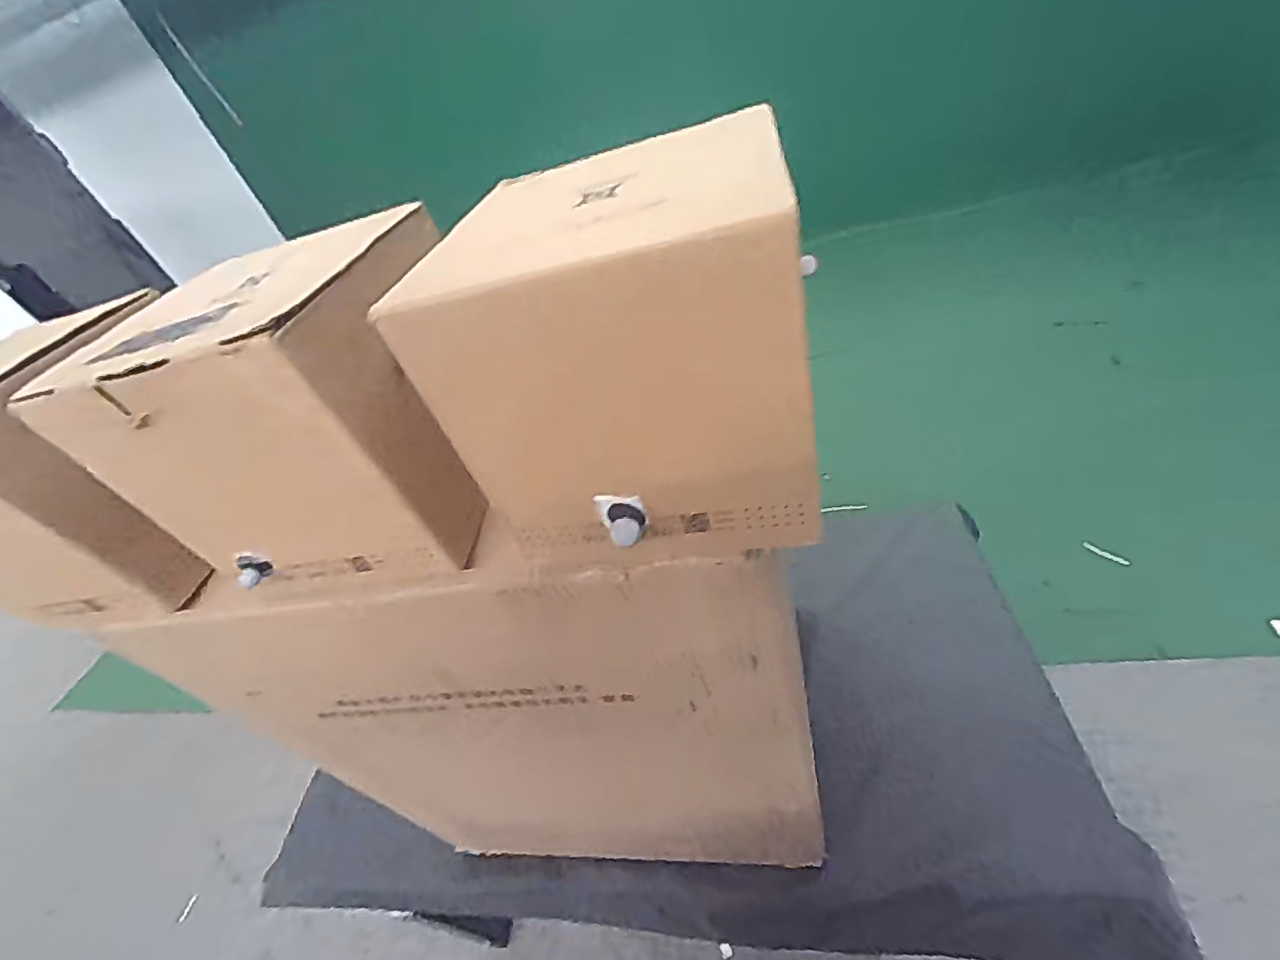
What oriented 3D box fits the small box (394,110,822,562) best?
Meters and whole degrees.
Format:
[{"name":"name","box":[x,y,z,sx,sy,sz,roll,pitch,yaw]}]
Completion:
[{"name":"small box","box":[0.007,-0.076,0.309,0.168,0.176,0.179,-8,43,16]}]

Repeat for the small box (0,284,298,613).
[{"name":"small box","box":[-0.413,-0.020,0.418,0.168,0.176,0.179,-9,41,18]}]
